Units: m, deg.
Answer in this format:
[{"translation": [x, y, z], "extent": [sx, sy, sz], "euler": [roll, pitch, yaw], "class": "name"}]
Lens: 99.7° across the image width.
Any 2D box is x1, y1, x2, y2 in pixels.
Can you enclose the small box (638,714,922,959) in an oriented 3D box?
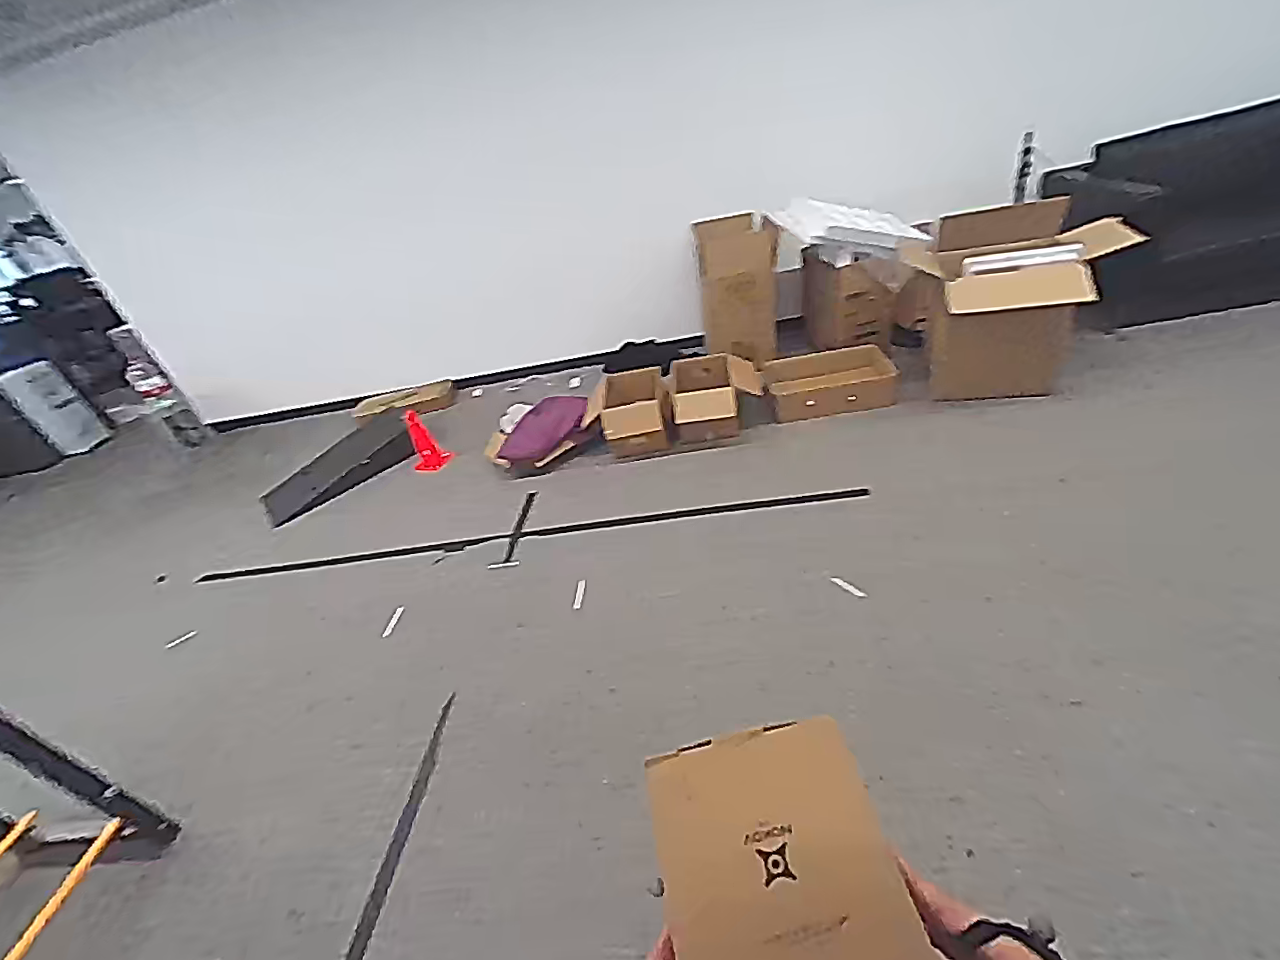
[{"translation": [0.100, 0.327, 0.449], "extent": [0.168, 0.176, 0.179], "euler": [-13, 46, -1], "class": "small box"}]
